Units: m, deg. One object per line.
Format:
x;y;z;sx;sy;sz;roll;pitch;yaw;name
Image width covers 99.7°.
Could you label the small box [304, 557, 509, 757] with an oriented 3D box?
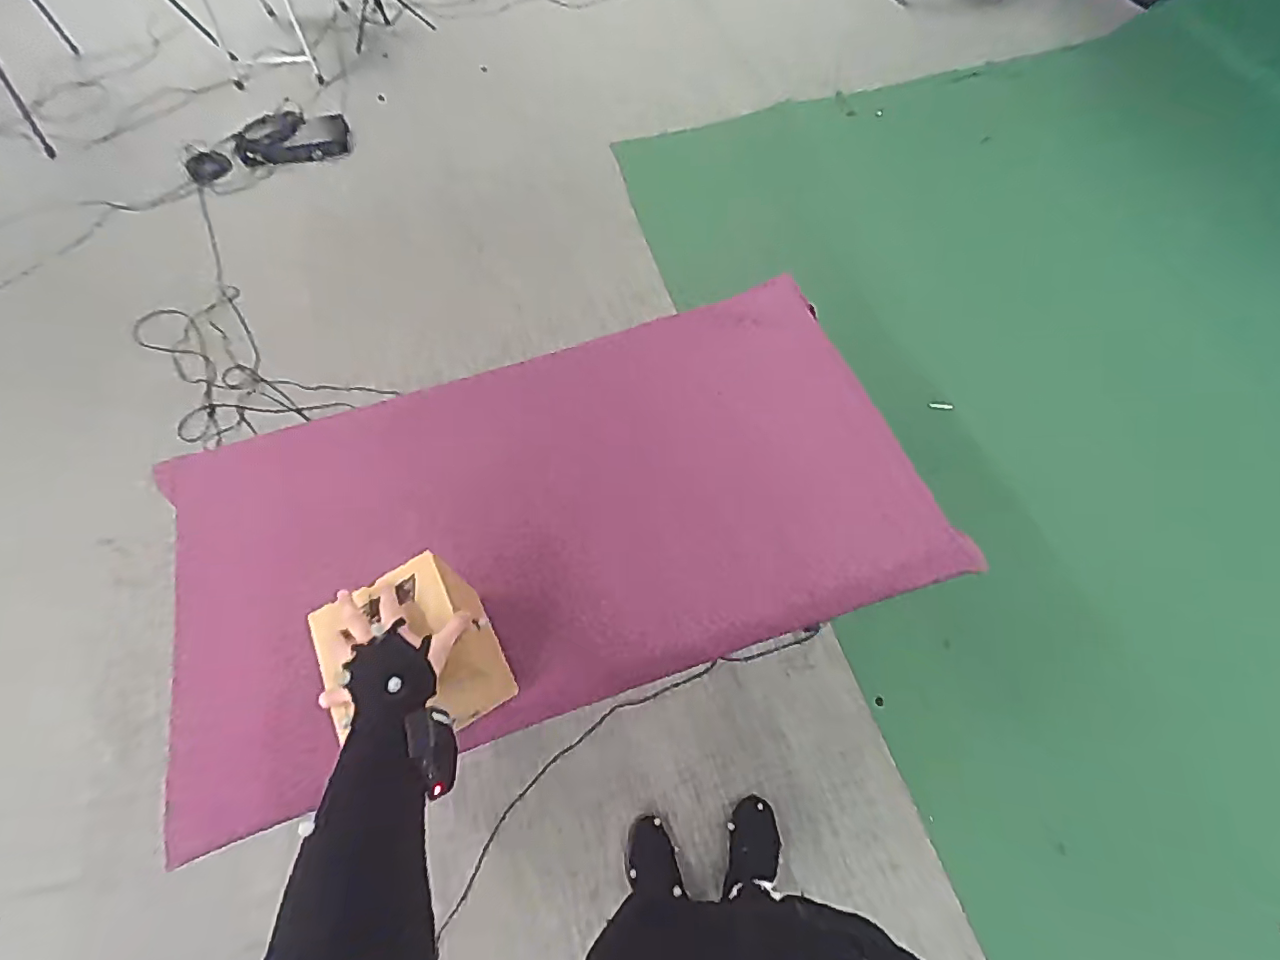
-0.299;0.238;0.713;0.168;0.176;0.179;-30;61;-11;small box
